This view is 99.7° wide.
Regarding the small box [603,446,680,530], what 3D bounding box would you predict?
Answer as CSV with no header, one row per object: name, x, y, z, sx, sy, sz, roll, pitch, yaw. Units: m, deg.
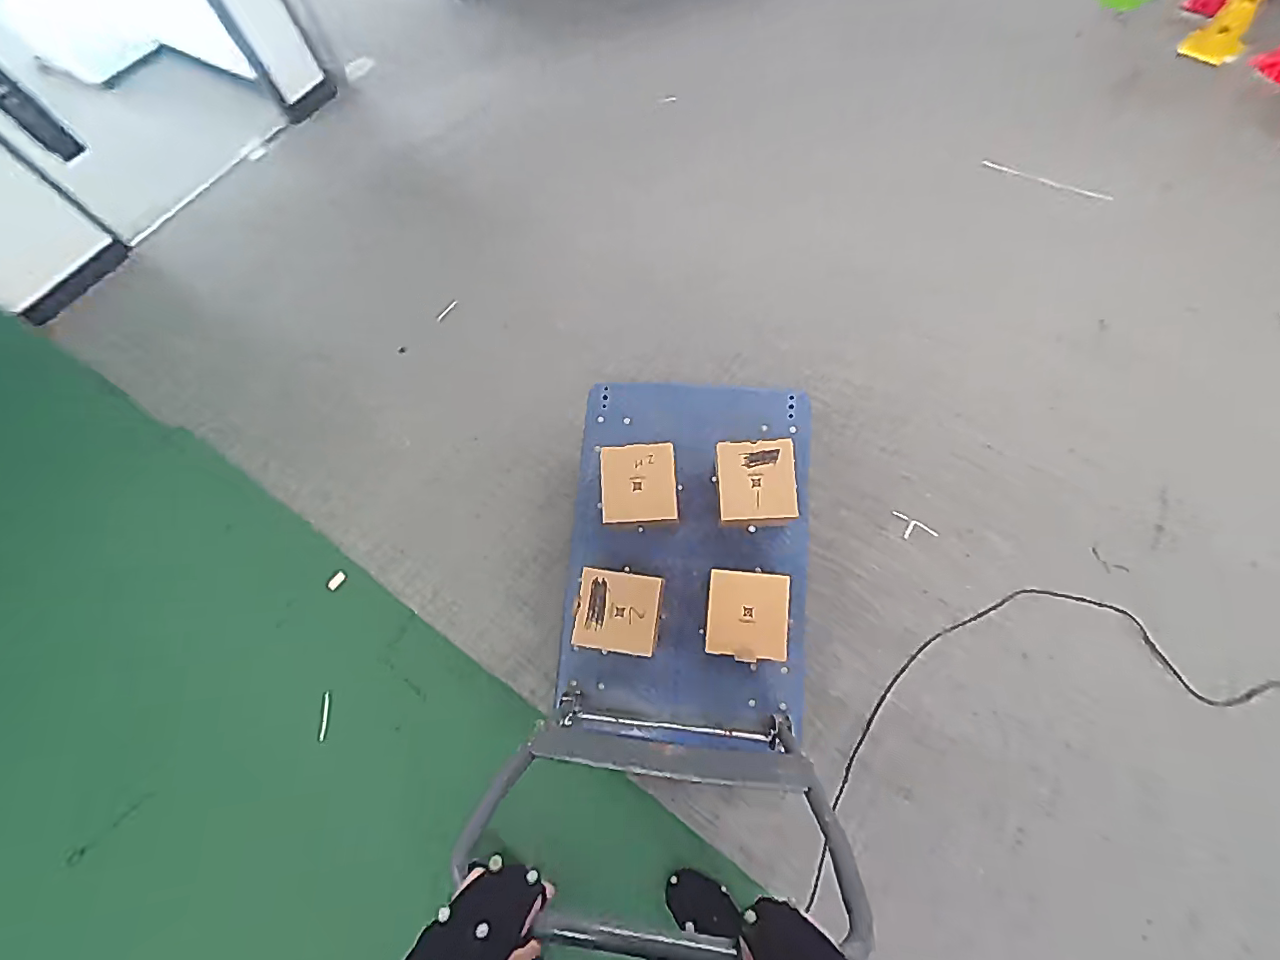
small box,0.007,0.026,1.279,0.168,0.176,0.179,-3,78,5

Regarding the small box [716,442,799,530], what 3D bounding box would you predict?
small box,0.265,0.019,1.253,0.168,0.176,0.179,-2,79,6

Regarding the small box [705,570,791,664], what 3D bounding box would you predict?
small box,0.234,0.299,1.201,0.168,0.176,0.179,4,80,7
